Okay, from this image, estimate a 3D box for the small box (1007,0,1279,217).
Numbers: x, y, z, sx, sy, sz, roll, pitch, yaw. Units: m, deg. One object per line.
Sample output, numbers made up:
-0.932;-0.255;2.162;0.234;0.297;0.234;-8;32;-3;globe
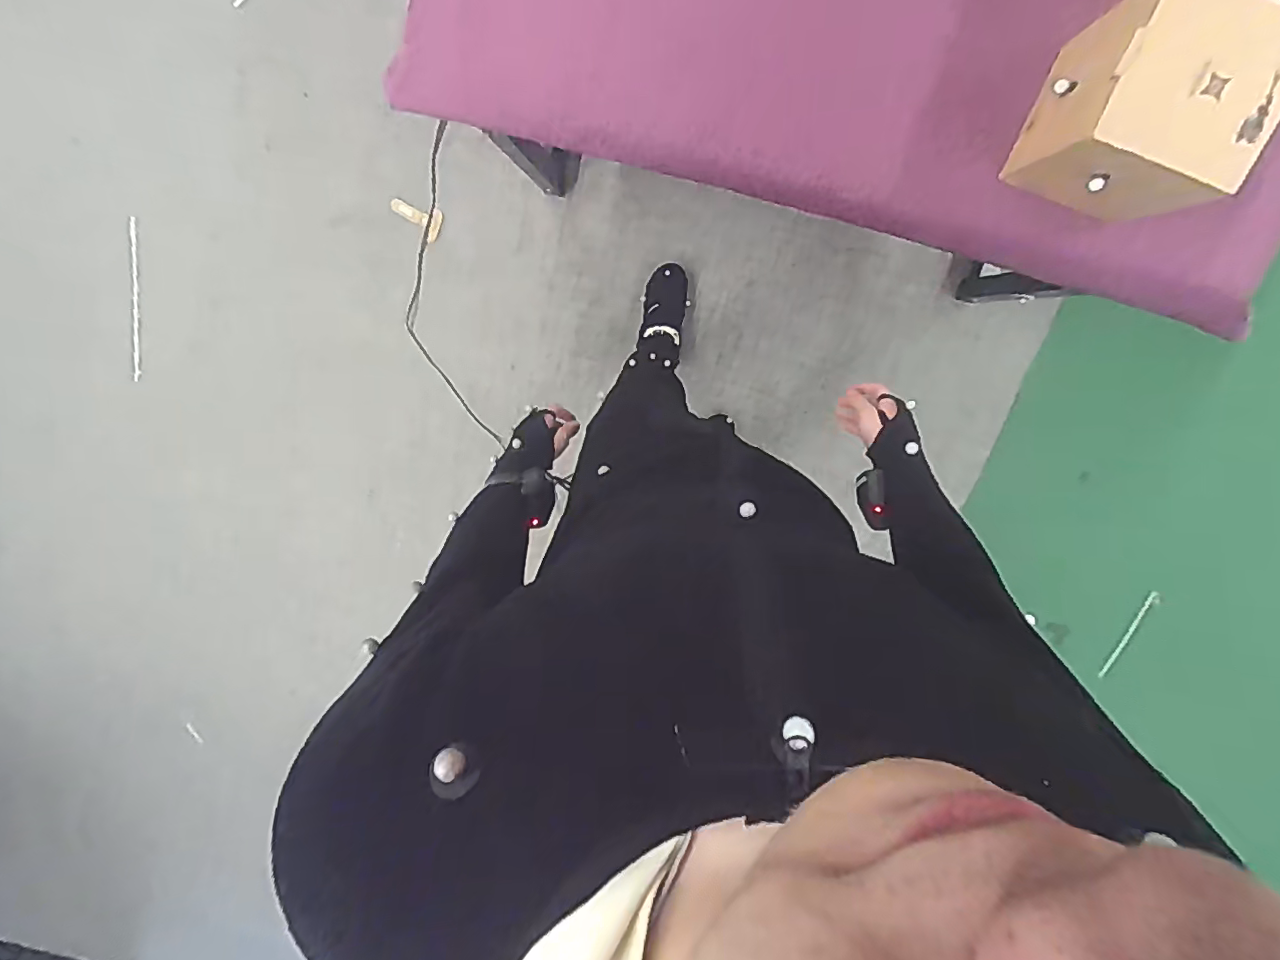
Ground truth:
0.582;-0.428;0.626;0.179;0.176;0.168;20;106;-1;small box
